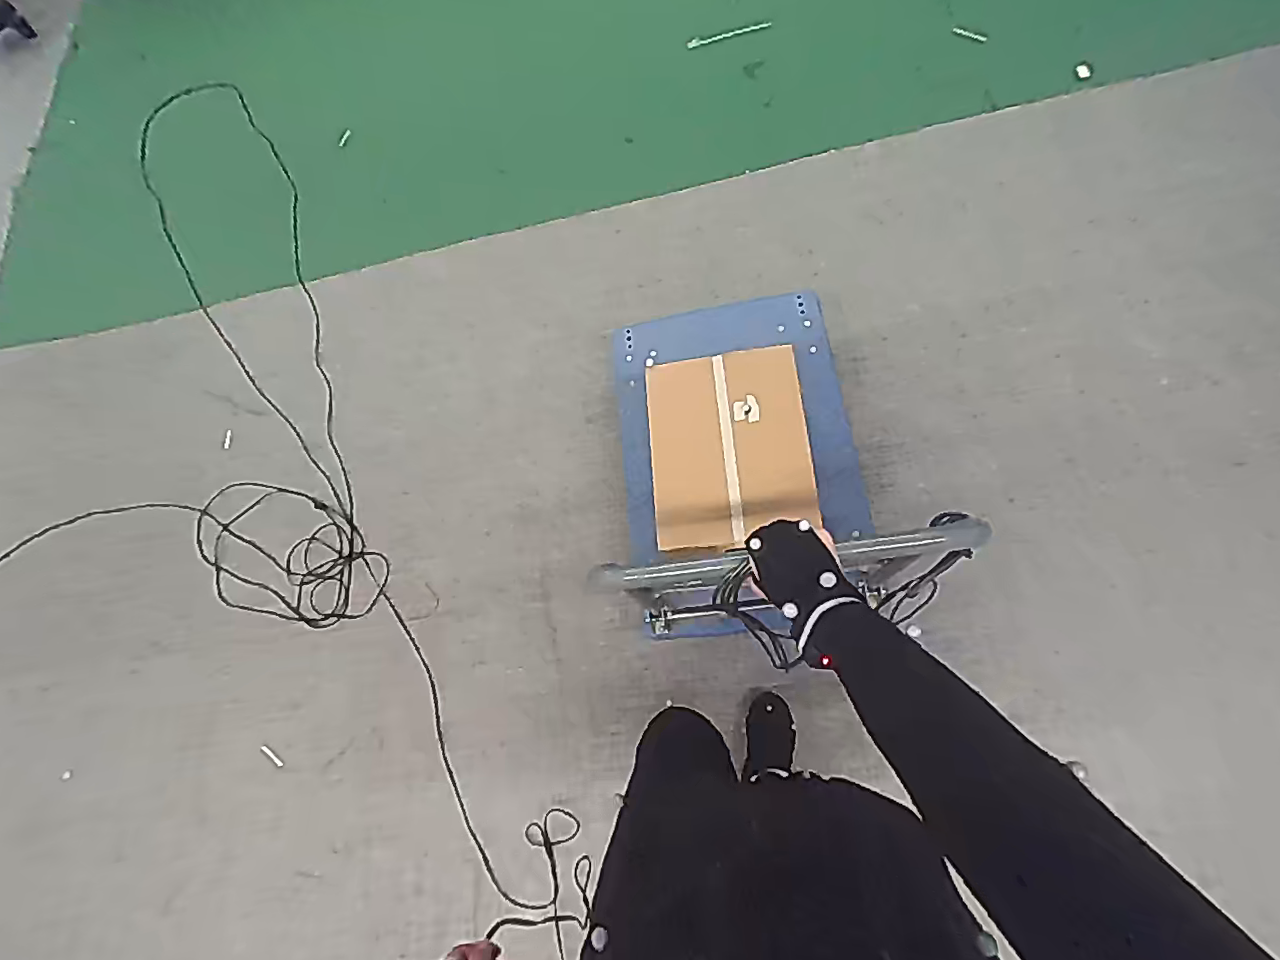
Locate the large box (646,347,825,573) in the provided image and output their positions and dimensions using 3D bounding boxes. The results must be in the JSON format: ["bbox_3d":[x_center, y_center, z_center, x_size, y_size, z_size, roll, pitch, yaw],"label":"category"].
[{"bbox_3d":[0.206,-0.024,1.212,0.320,0.320,0.408,-7,71,9],"label":"large box"}]
